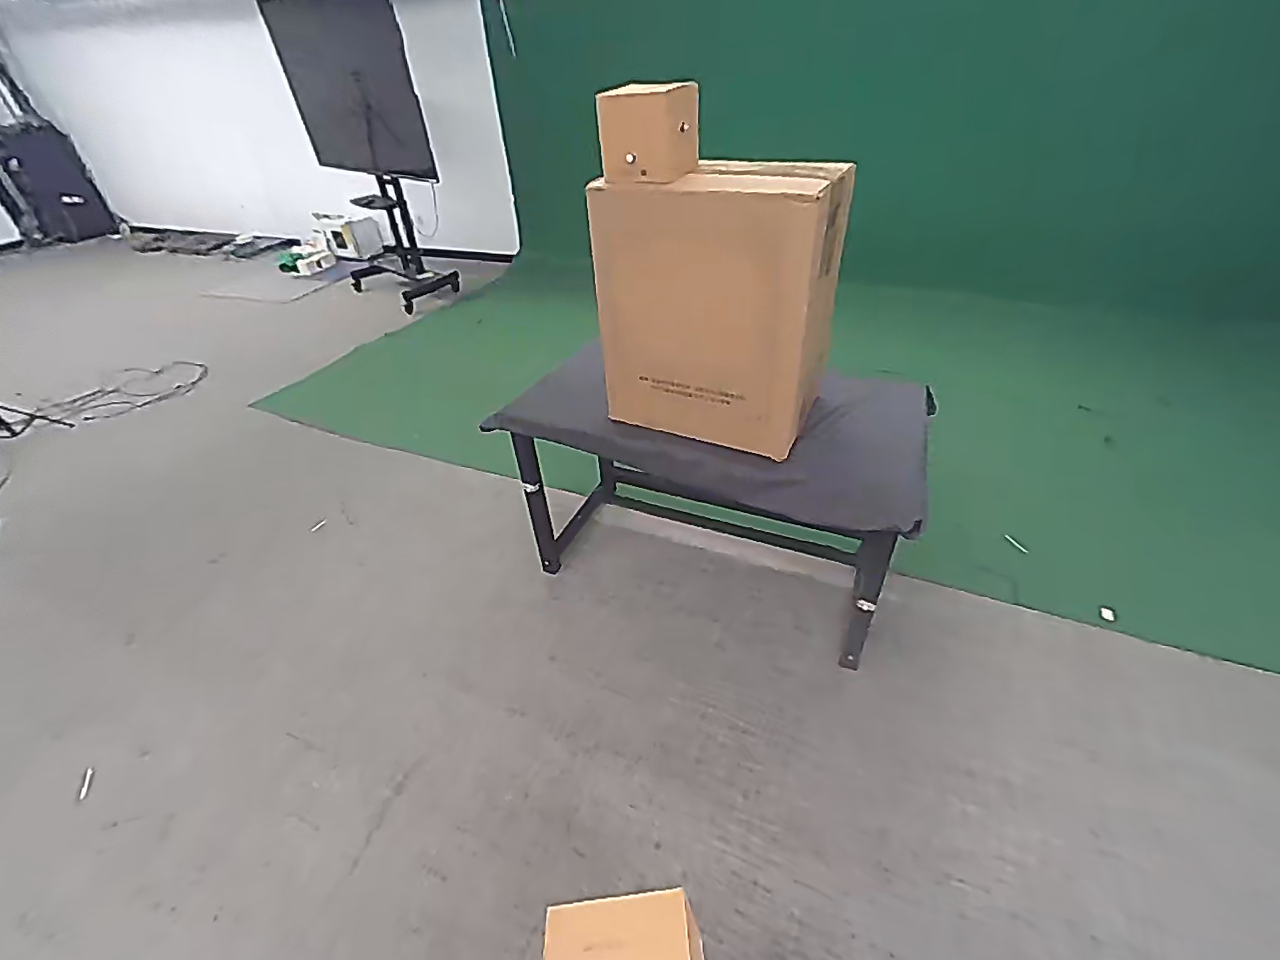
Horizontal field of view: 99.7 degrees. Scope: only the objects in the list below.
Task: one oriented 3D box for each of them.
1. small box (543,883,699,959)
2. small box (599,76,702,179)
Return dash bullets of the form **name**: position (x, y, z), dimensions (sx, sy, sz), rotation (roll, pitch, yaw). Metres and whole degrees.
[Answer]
- **small box**: position (-0.012, 0.599, 0.611), dimensions (0.168, 0.176, 0.179), rotation (-10, 34, 2)
- **small box**: position (0.028, -0.784, 1.200), dimensions (0.168, 0.176, 0.179), rotation (16, 44, 25)
